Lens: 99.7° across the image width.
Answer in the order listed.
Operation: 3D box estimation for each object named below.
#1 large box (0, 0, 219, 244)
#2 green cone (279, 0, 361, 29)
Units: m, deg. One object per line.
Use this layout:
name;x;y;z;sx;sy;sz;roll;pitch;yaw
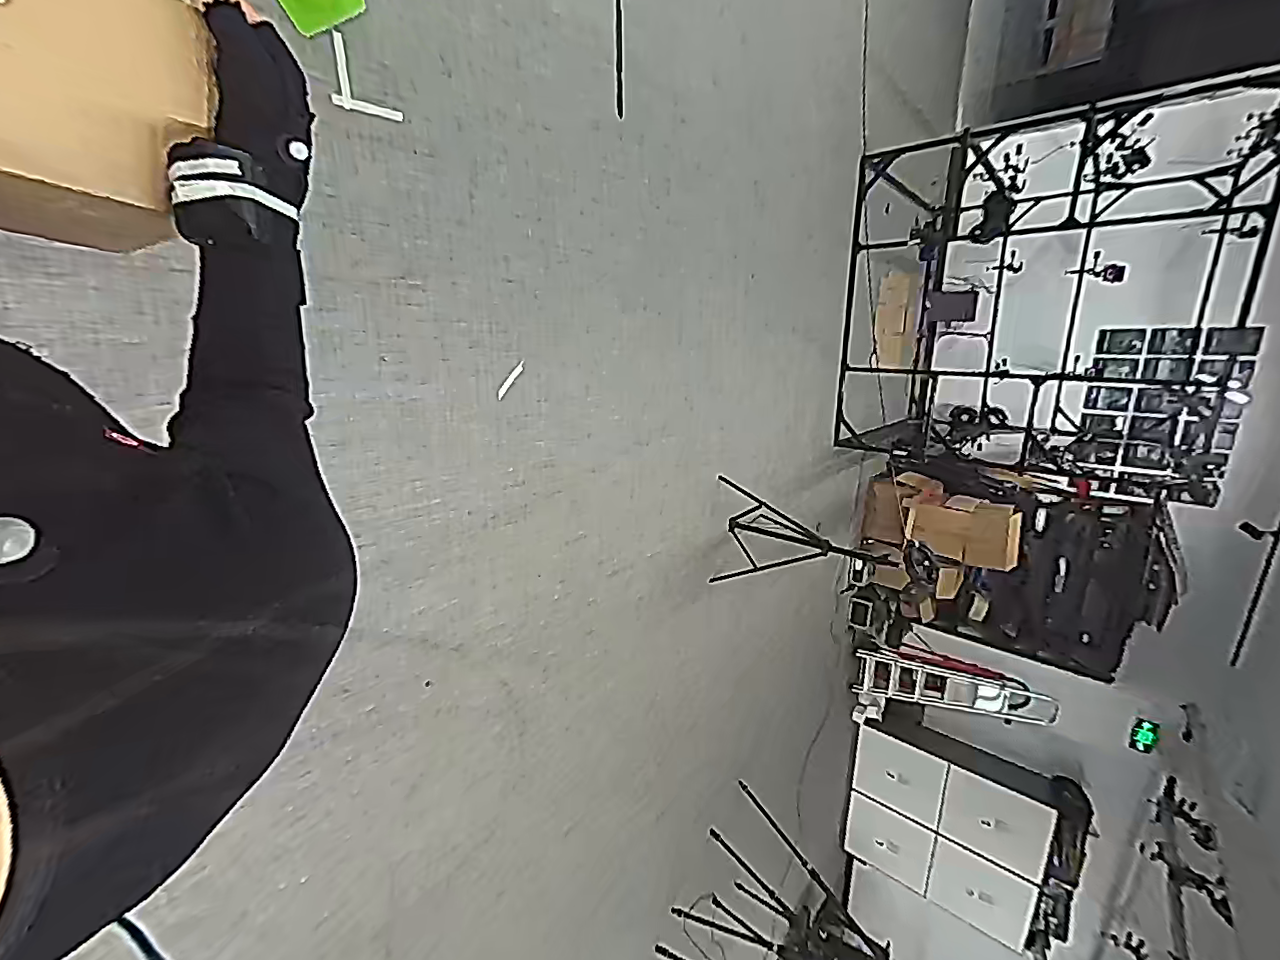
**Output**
large box;-0.562;-0.373;0.337;0.408;0.320;0.320;-5;105;-54
green cone;-0.614;-1.110;1.087;0.202;0.368;0.200;-56;138;-27
